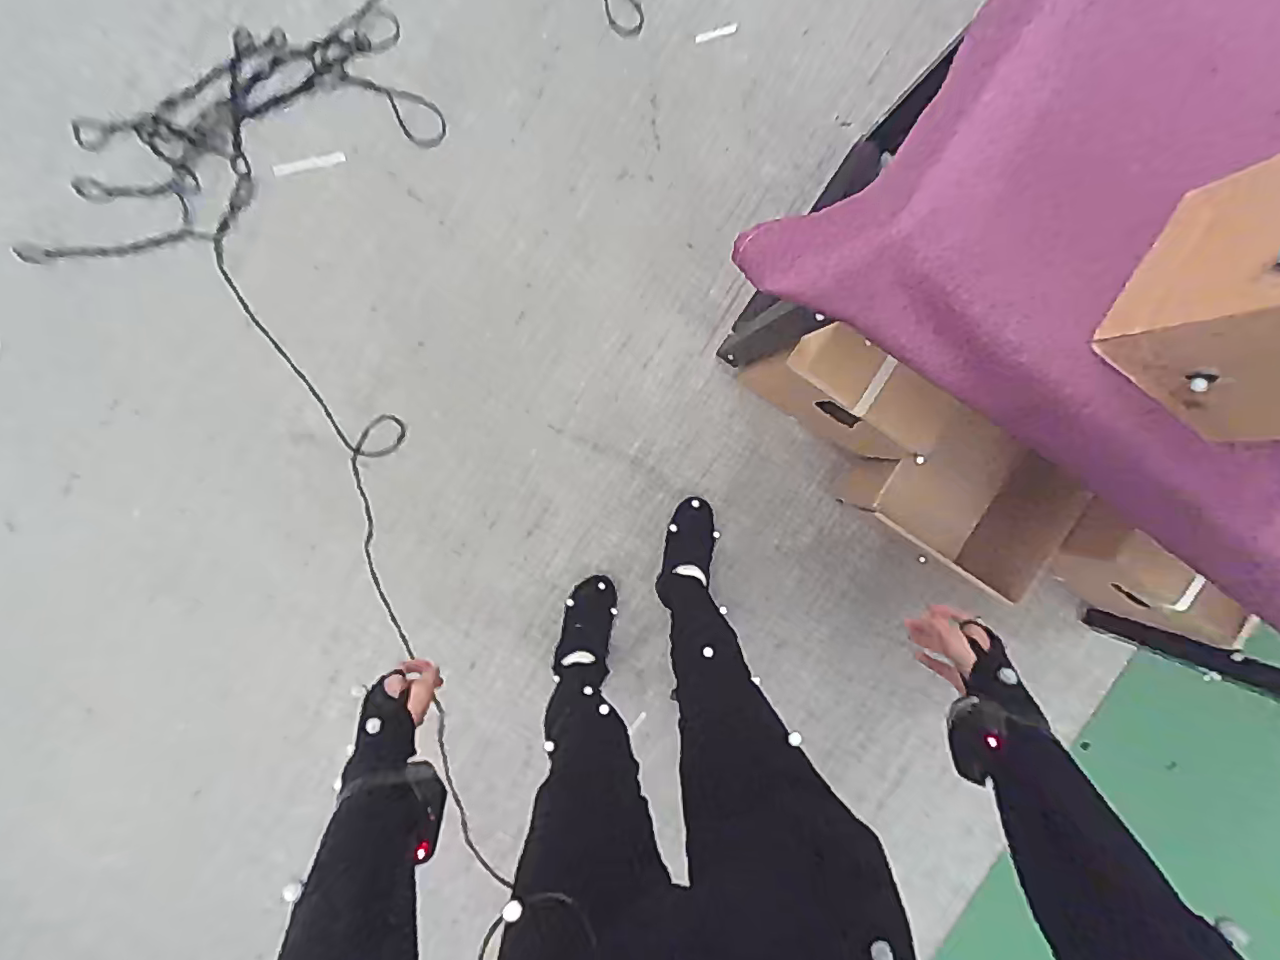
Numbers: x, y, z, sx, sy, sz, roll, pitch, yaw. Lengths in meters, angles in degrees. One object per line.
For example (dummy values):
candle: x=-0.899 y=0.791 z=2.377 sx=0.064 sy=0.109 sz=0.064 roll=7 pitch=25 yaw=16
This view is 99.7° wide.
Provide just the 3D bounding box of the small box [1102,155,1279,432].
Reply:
small box: x=0.538 y=-0.154 z=0.433 sx=0.168 sy=0.176 sz=0.179 roll=33 pitch=90 yaw=-7

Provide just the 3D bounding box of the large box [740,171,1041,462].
large box: x=0.463 y=-0.294 z=1.082 sx=0.320 sy=0.320 sz=0.408 roll=32 pitch=92 yaw=-7
